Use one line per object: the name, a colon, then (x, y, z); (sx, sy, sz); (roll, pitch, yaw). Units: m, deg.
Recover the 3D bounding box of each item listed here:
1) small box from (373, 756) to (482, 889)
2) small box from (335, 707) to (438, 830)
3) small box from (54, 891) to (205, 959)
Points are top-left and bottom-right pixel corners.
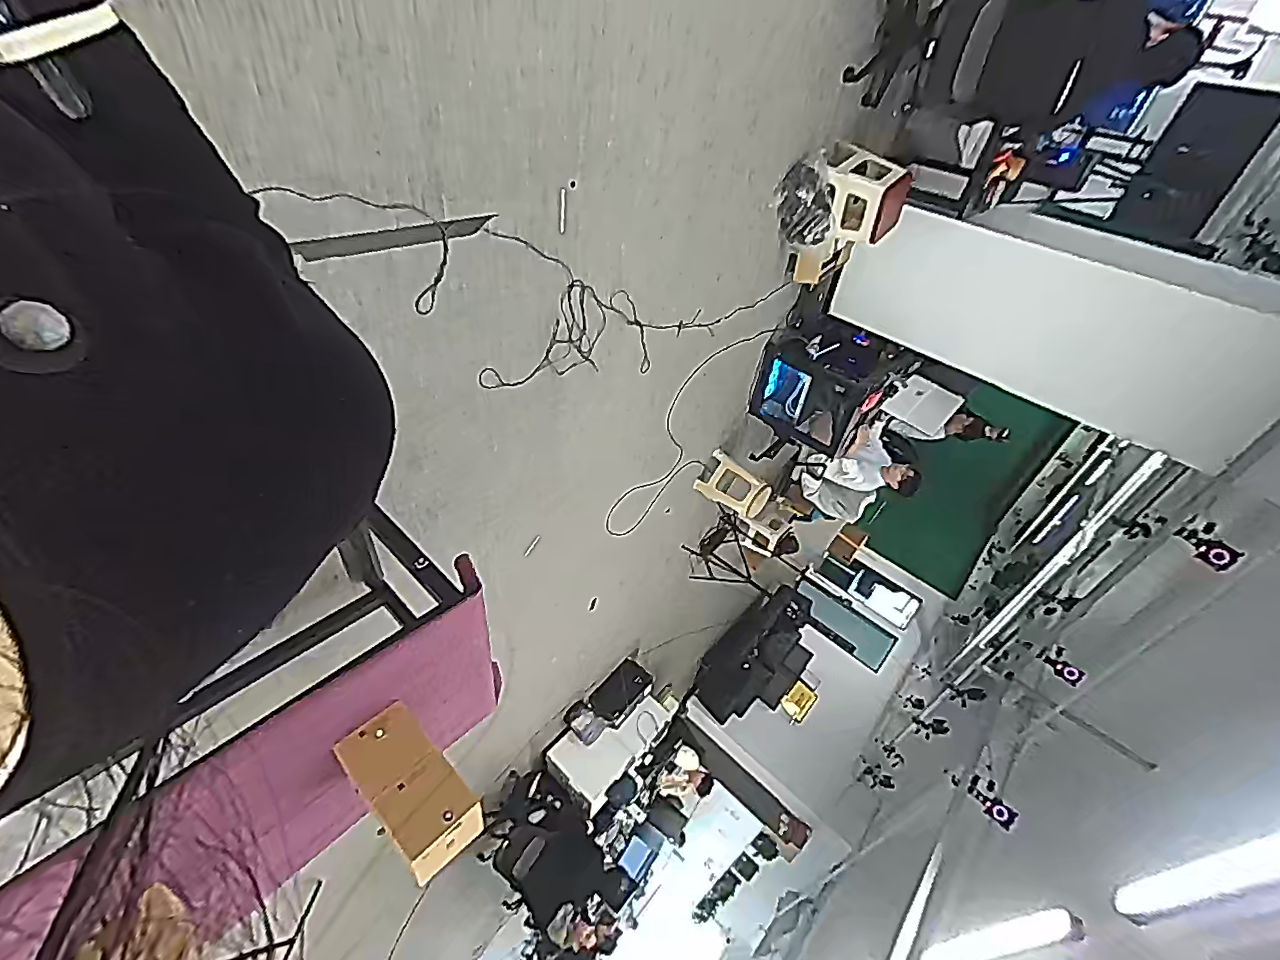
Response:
small box: (-0.479, 0.771, 1.231); (0.168, 0.176, 0.179); (-31, 145, -40)
small box: (-0.601, 0.688, 1.303); (0.168, 0.176, 0.179); (-32, 144, -39)
small box: (-0.941, 0.925, 1.011); (0.168, 0.176, 0.179); (-30, 144, -43)
